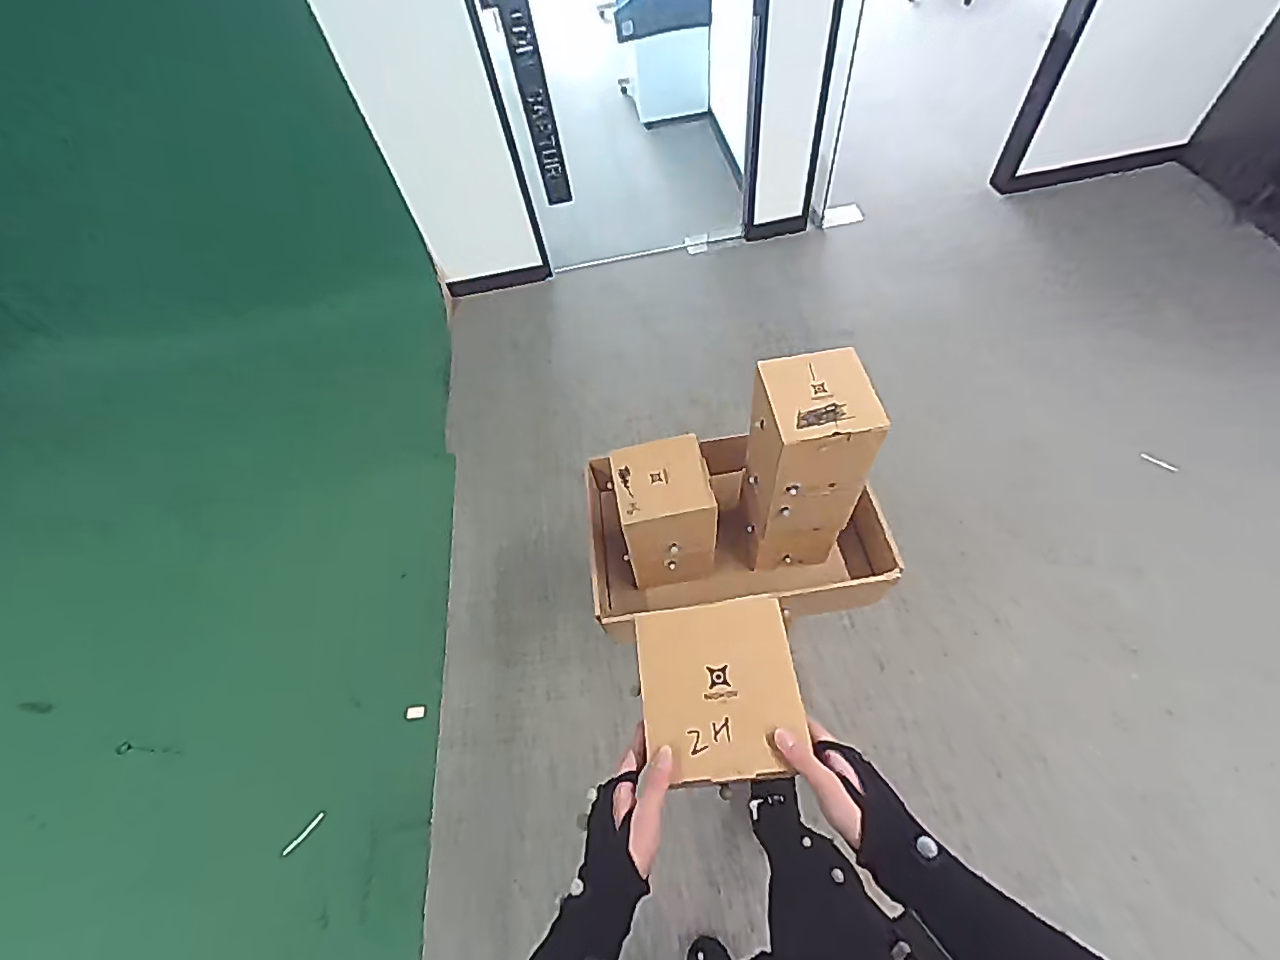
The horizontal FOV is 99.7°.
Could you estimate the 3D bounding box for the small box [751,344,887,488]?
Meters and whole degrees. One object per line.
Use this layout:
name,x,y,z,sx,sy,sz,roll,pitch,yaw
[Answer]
small box,0.290,-0.100,0.918,0.168,0.176,0.179,-8,56,1

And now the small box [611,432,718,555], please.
small box,0.047,0.031,1.060,0.179,0.176,0.168,-11,58,0

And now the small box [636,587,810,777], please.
small box,0.085,0.244,0.641,0.168,0.176,0.179,-6,59,1

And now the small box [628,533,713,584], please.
small box,0.062,0.118,1.199,0.179,0.176,0.168,-9,58,0
